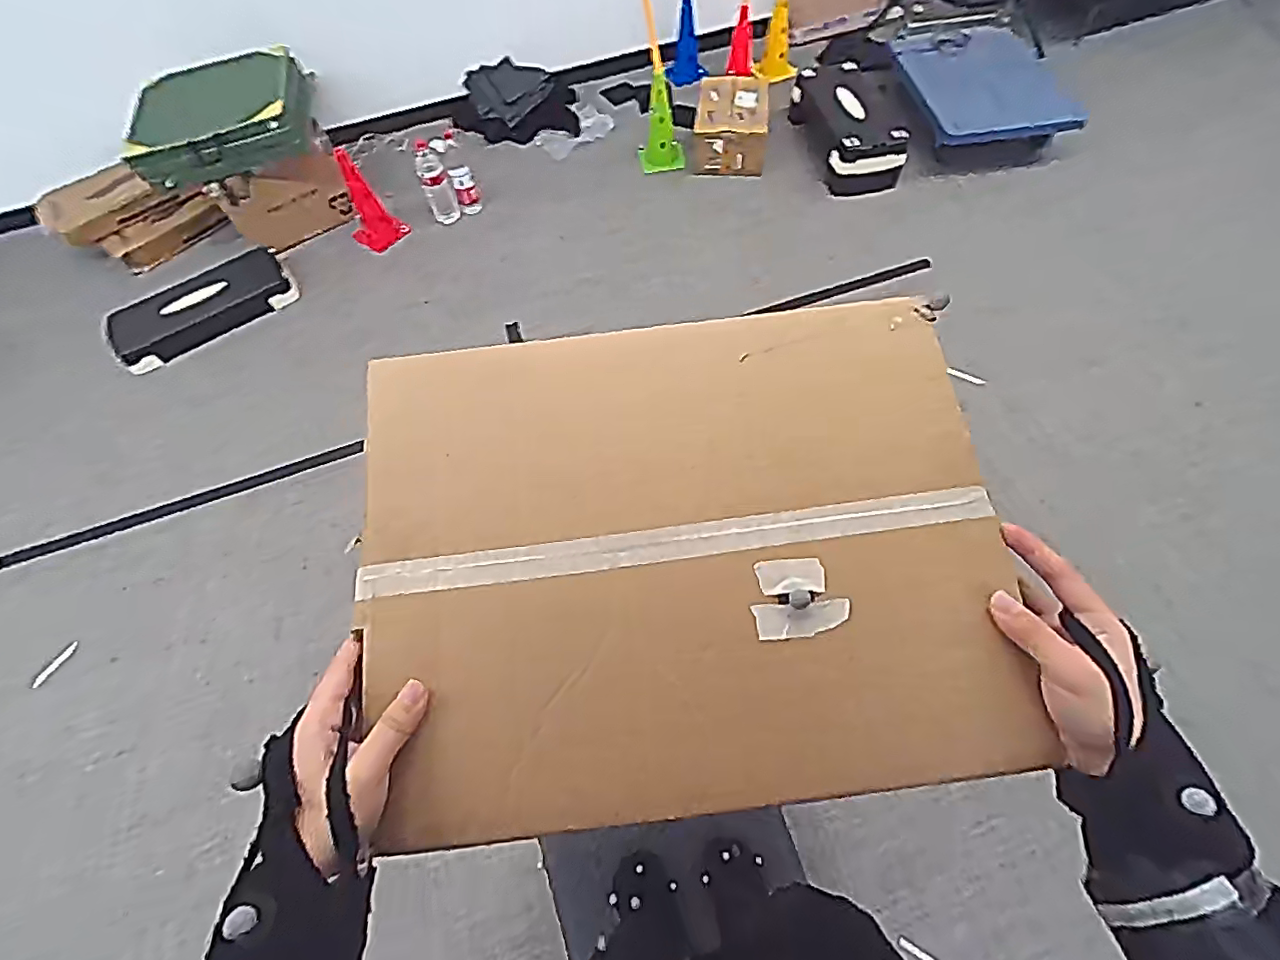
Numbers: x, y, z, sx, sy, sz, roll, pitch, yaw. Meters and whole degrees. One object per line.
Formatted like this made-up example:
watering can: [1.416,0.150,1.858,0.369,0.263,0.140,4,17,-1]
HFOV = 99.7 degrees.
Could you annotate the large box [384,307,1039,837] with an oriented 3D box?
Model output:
large box: [0.028,0.081,0.504,0.408,0.320,0.320,-7,75,-1]
